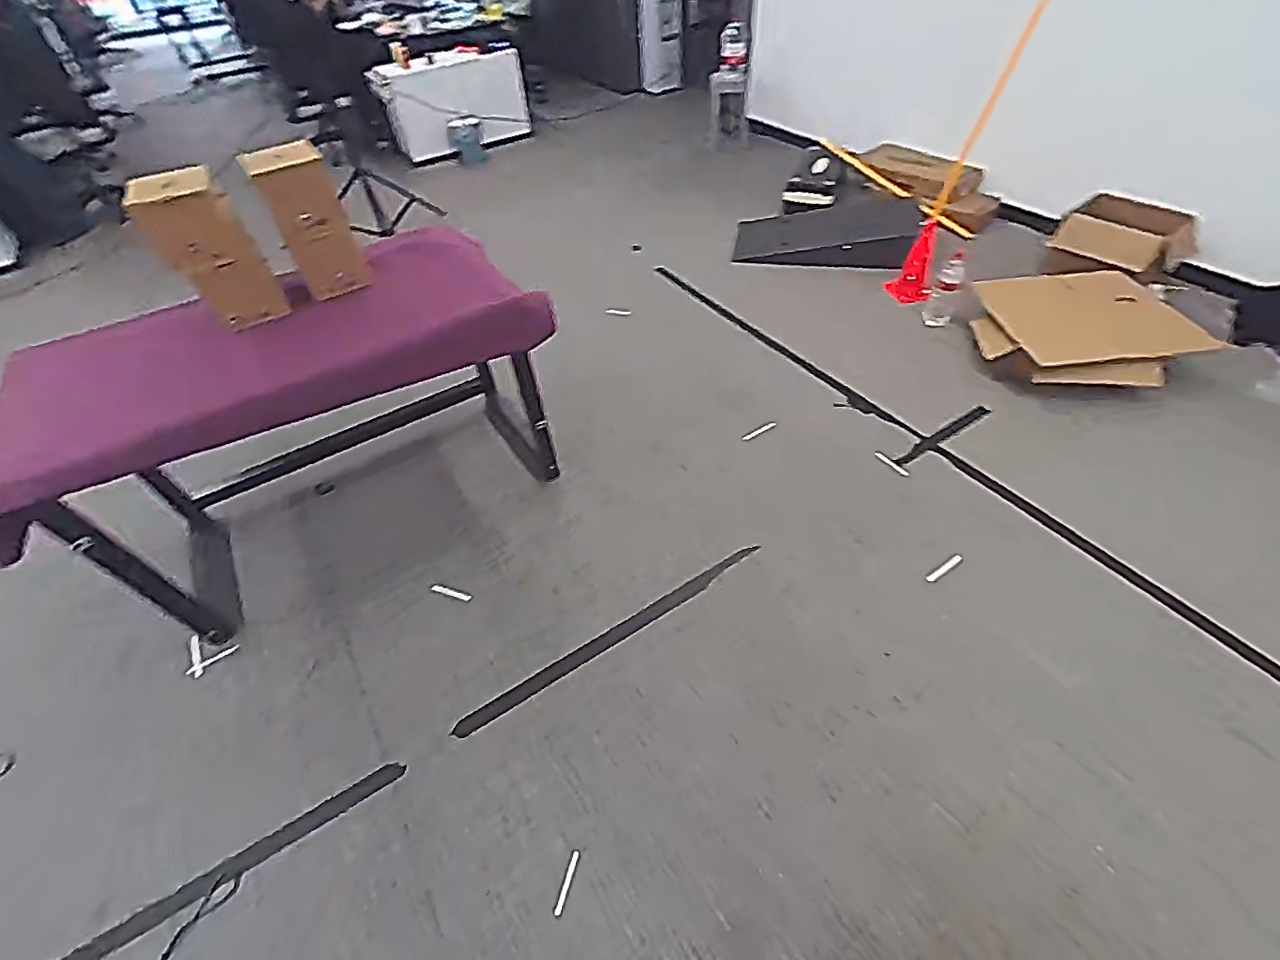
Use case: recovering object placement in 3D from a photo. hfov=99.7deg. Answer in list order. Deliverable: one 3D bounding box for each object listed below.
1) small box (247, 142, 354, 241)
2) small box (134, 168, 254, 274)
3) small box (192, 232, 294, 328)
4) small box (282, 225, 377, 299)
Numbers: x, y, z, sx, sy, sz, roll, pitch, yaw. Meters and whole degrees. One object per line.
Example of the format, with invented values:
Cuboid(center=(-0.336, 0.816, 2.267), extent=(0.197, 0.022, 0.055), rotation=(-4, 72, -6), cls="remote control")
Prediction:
Cuboid(center=(-0.887, -0.756, 1.419), extent=(0.168, 0.176, 0.179), rotation=(-30, 54, -20), cls="small box")
Cuboid(center=(-1.086, -0.635, 1.326), extent=(0.168, 0.176, 0.179), rotation=(-25, 53, -18), cls="small box")
Cuboid(center=(-1.063, -0.530, 1.450), extent=(0.168, 0.176, 0.179), rotation=(-27, 52, -19), cls="small box")
Cuboid(center=(-0.880, -0.644, 1.537), extent=(0.168, 0.176, 0.179), rotation=(-28, 53, -18), cls="small box")
